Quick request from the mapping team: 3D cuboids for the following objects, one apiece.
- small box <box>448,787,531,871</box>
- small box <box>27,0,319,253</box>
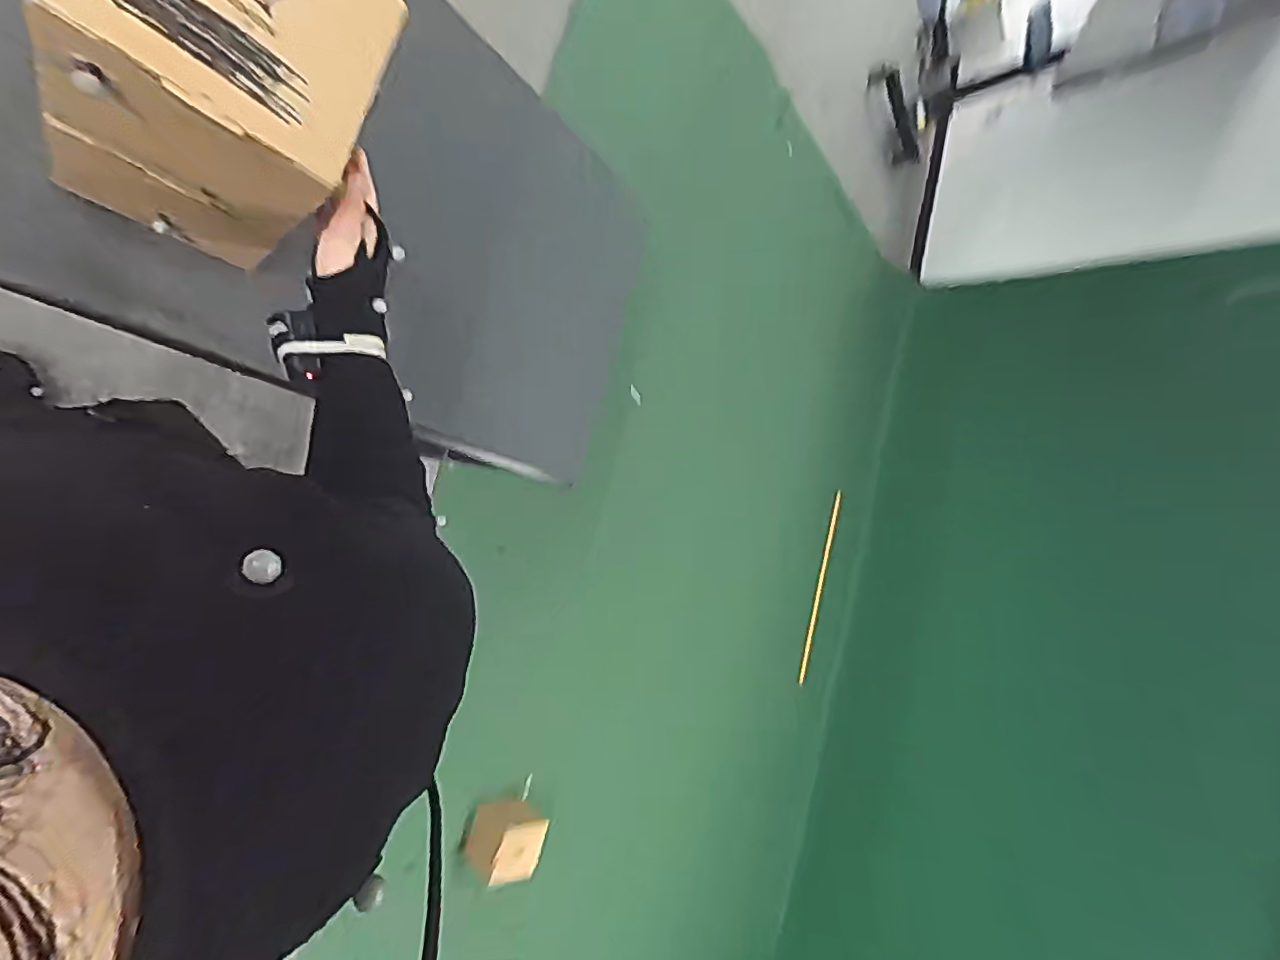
[{"bbox_3d":[-0.503,1.153,1.804,0.179,0.176,0.168,25,78,-46],"label":"small box"},{"bbox_3d":[-0.453,-0.355,0.531,0.168,0.176,0.179,21,81,-46],"label":"small box"}]
